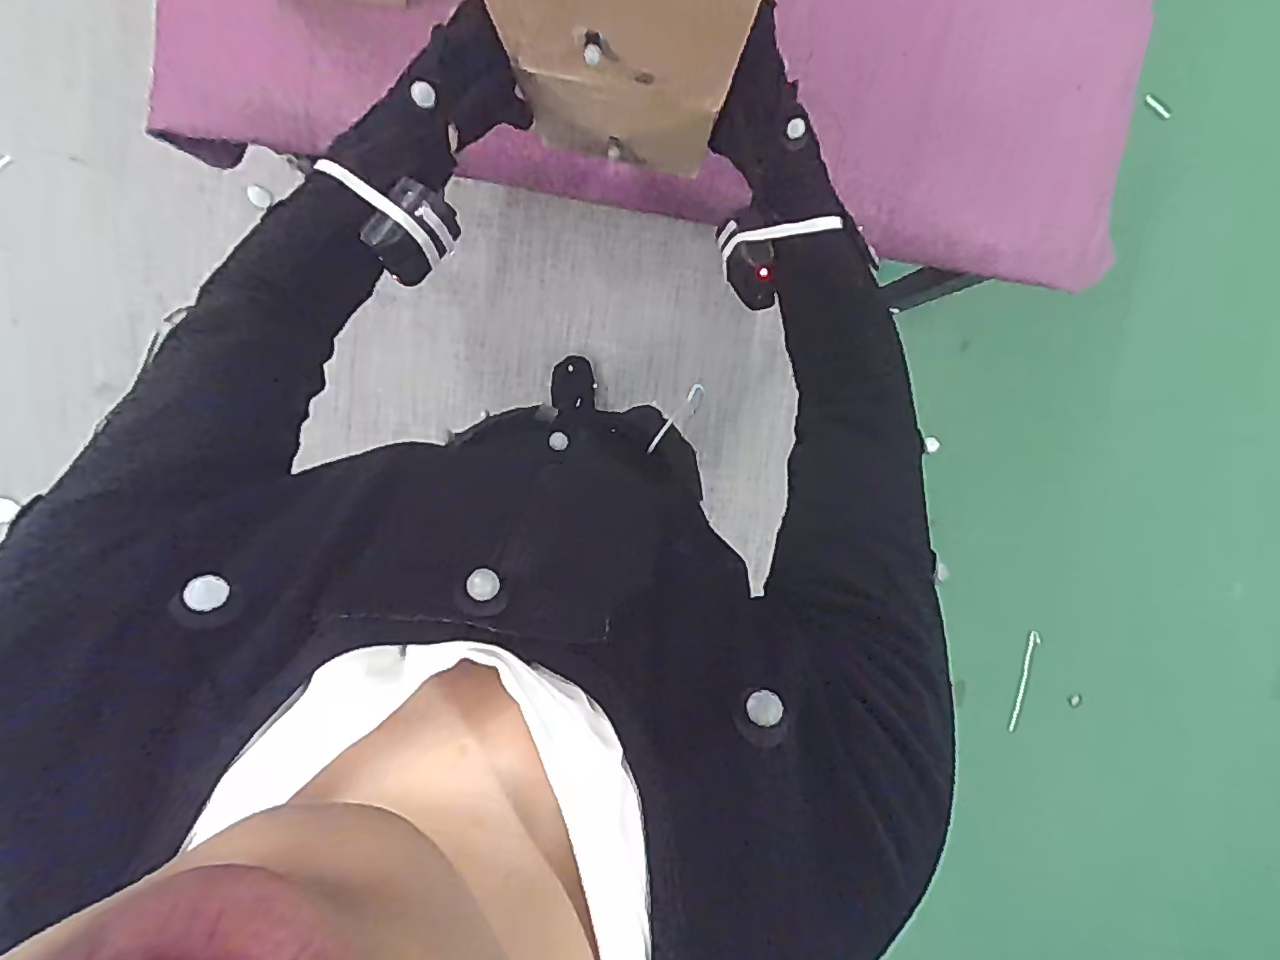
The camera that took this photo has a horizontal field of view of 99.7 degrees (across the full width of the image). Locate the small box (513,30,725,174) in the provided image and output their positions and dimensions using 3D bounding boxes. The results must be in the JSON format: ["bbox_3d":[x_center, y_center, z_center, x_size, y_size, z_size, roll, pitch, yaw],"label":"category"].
[{"bbox_3d":[0.000,-0.401,0.471,0.168,0.176,0.179,12,104,-3],"label":"small box"}]

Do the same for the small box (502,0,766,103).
[{"bbox_3d":[0.002,-0.364,0.312,0.168,0.176,0.179,10,104,-4],"label":"small box"}]
